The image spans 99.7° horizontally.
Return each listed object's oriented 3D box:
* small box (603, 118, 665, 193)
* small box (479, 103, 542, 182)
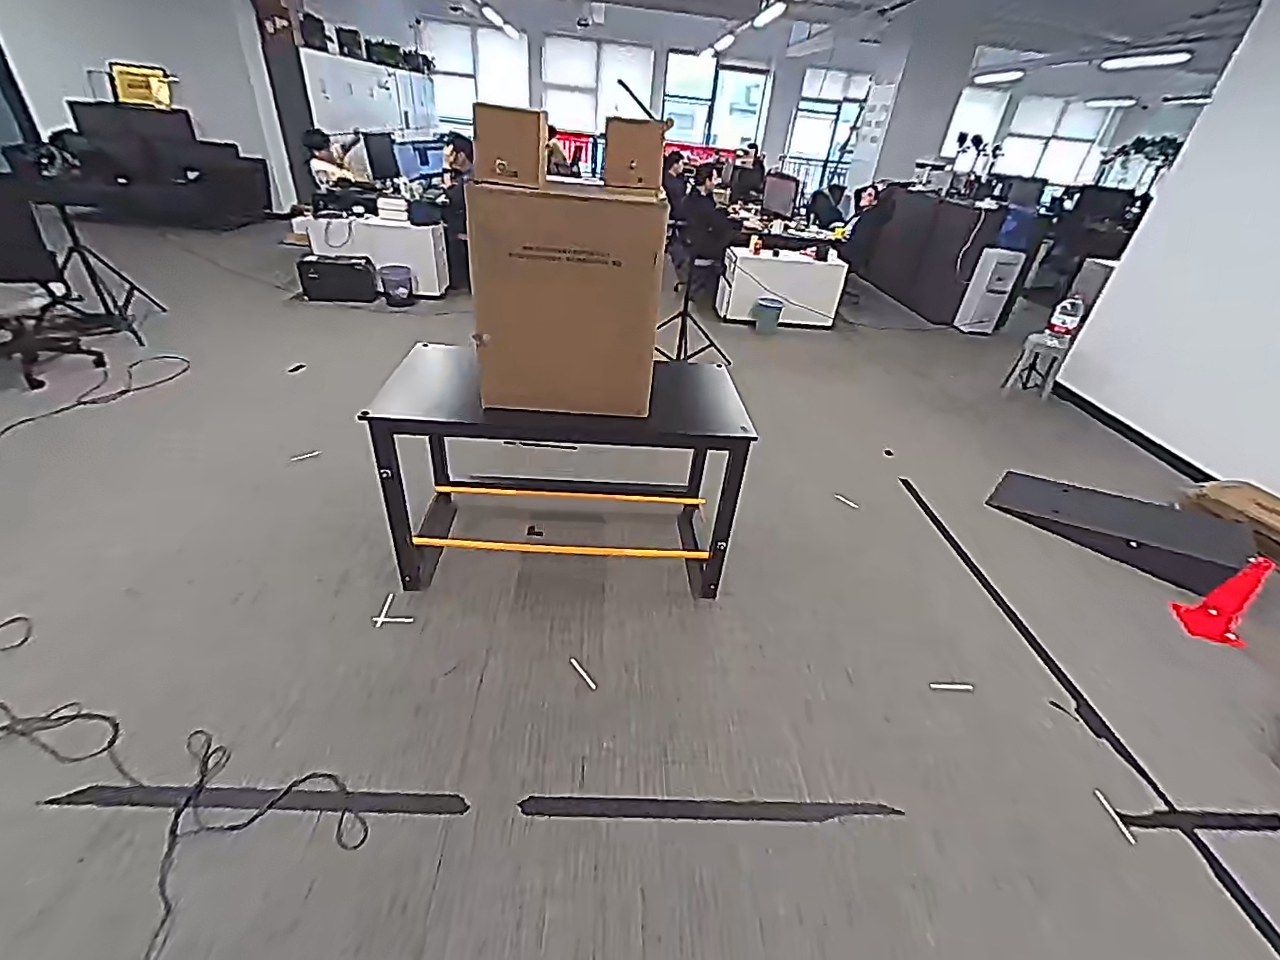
[{"bbox_3d":[-0.022,-0.943,1.574,0.168,0.176,0.179,1,32,-4],"label":"small box"},{"bbox_3d":[-0.370,-0.972,1.562,0.168,0.176,0.179,1,33,-10],"label":"small box"}]
